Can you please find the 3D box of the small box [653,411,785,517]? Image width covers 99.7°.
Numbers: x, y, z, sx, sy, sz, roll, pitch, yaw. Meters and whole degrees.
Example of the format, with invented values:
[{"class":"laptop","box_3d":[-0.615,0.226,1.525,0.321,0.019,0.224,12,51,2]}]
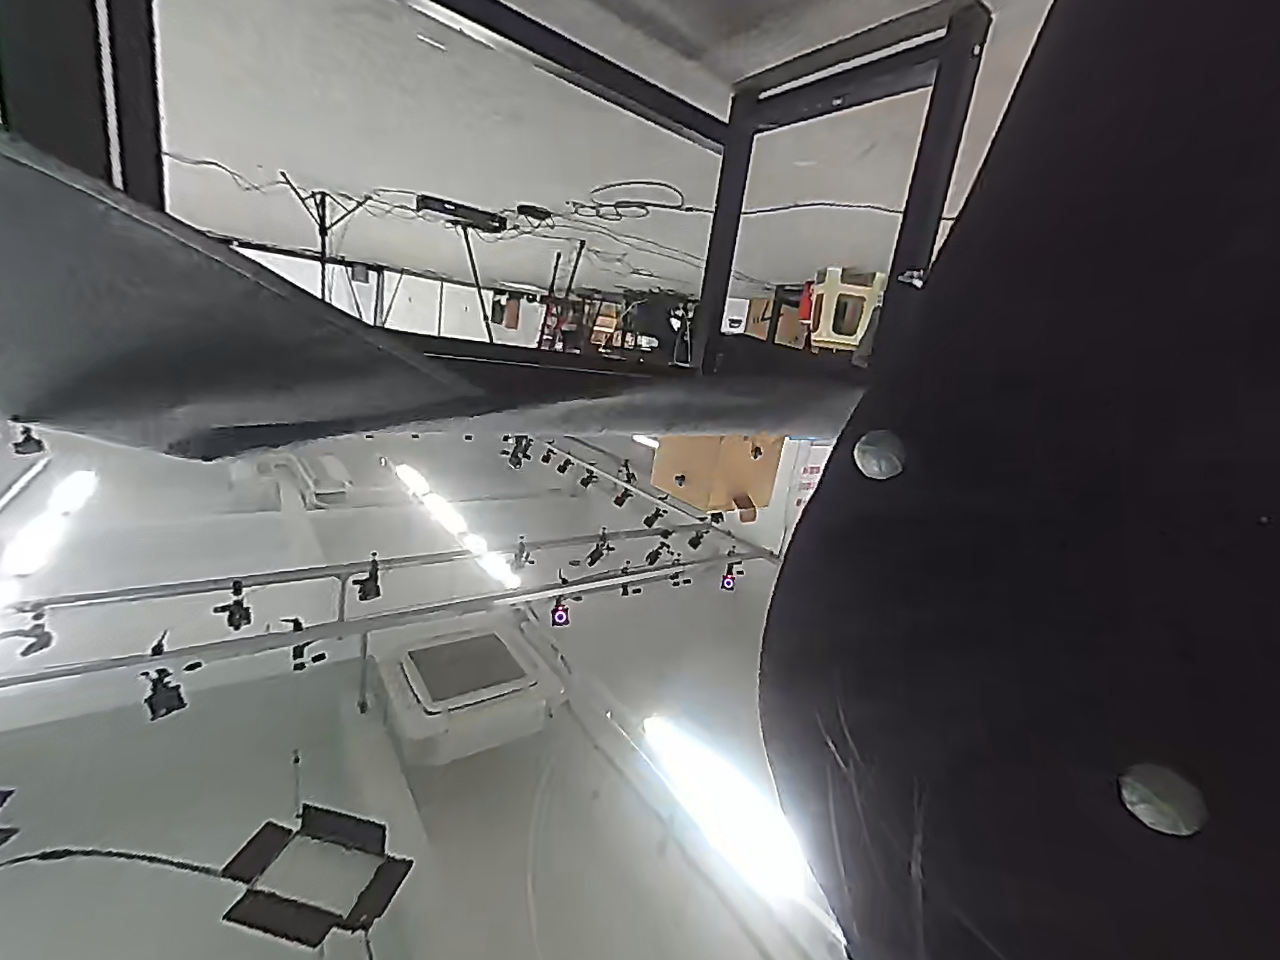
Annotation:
[{"class":"small box","box_3d":[0.150,-0.037,1.032,0.168,0.176,0.179,-1,-164,-35]}]
